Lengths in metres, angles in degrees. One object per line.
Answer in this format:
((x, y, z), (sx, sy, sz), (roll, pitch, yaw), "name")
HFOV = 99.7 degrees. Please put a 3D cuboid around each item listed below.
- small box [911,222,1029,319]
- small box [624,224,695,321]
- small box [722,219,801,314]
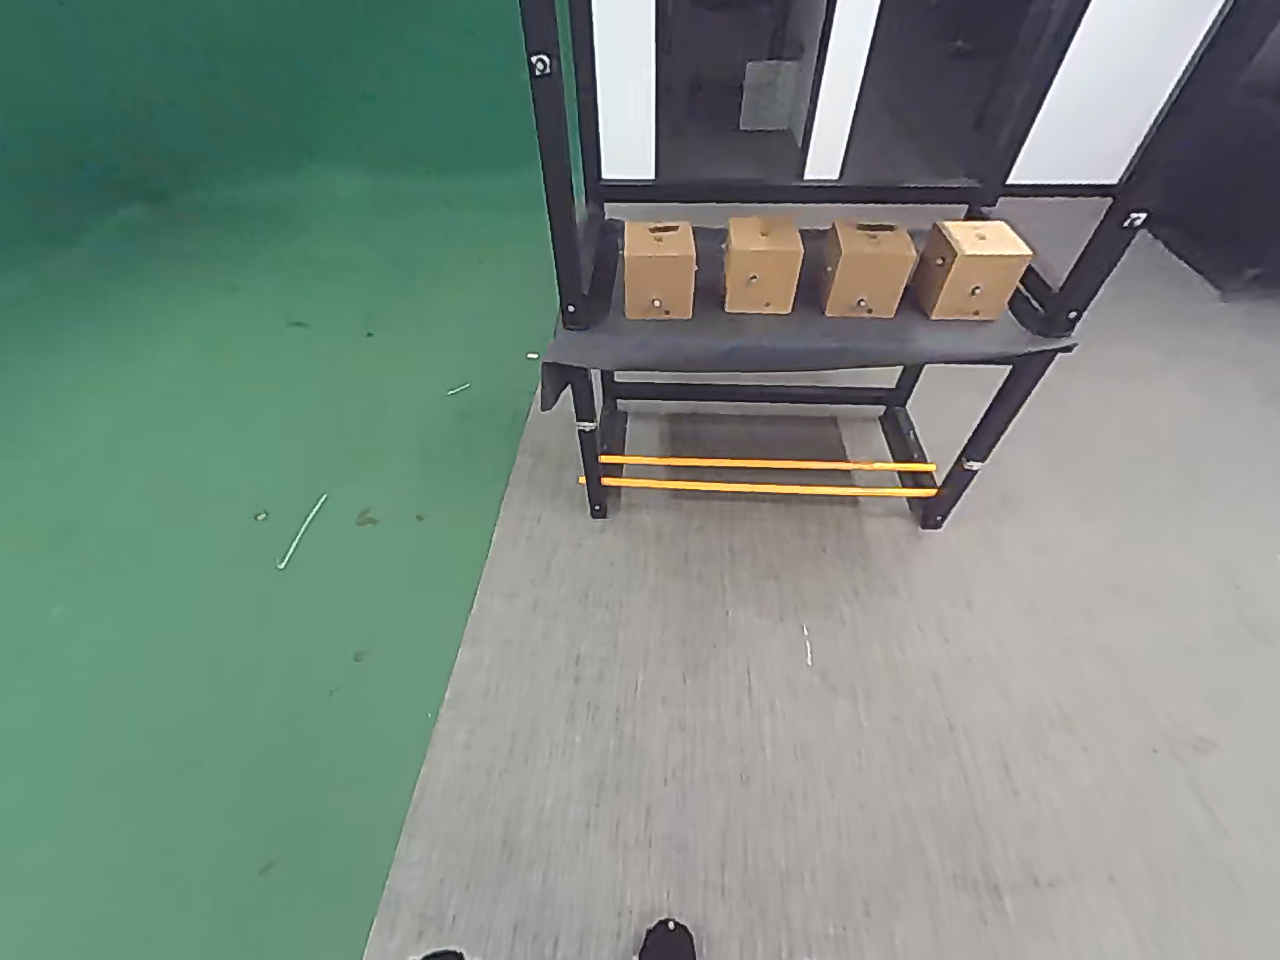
((0.789, -0.508, 1.315), (0.168, 0.176, 0.179), (2, 48, 2), "small box")
((0.045, -0.515, 1.342), (0.168, 0.176, 0.179), (-1, 49, 0), "small box")
((0.298, -0.533, 1.354), (0.168, 0.176, 0.179), (2, 48, 3), "small box")
